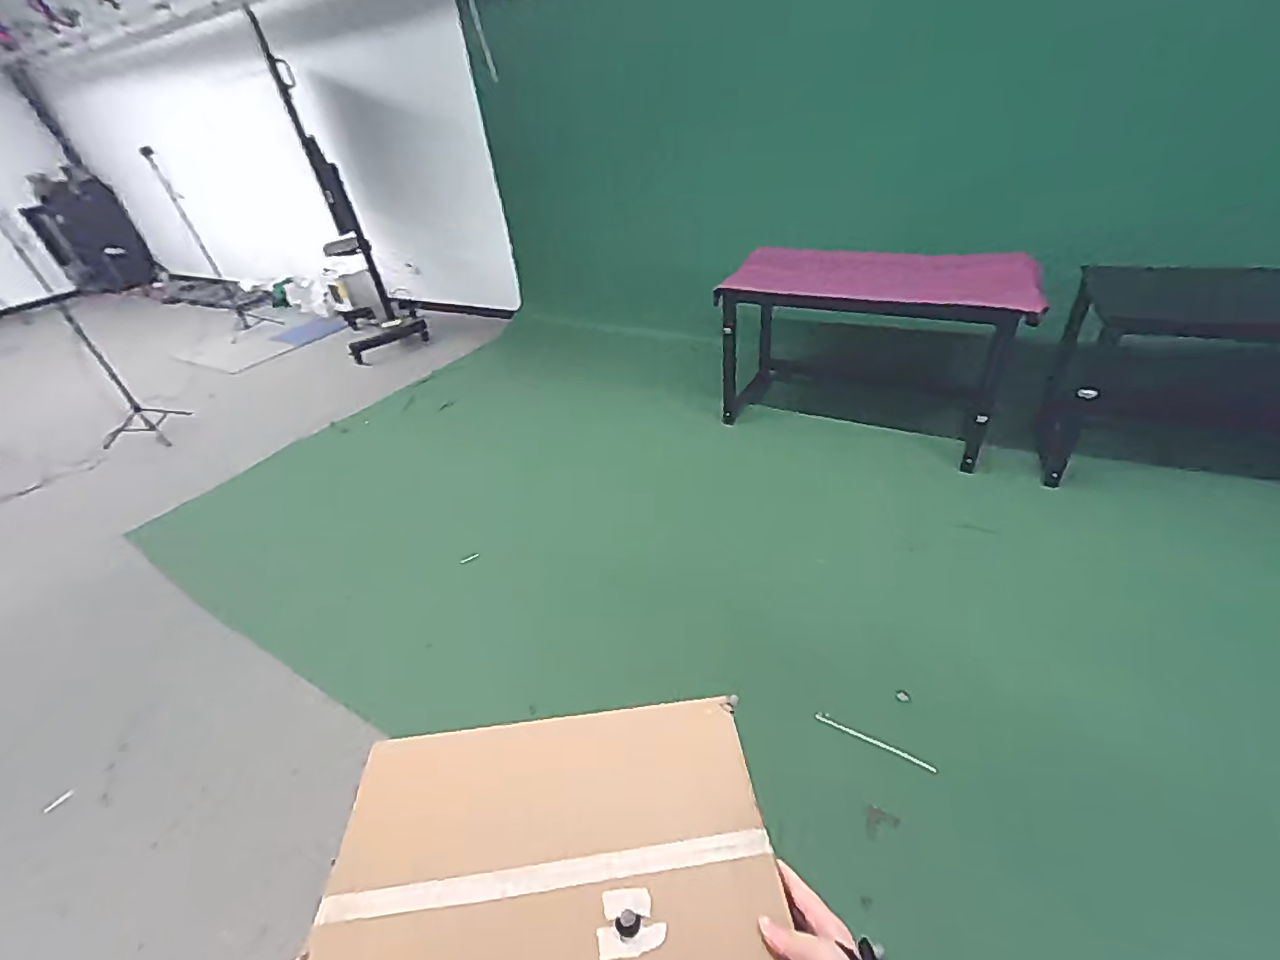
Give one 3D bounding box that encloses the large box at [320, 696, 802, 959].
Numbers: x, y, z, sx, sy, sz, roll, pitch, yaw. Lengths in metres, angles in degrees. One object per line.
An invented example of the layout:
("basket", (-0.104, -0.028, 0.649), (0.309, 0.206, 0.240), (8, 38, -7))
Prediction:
("large box", (-0.074, 0.483, 0.587), (0.408, 0.320, 0.320), (-4, 35, -5))
